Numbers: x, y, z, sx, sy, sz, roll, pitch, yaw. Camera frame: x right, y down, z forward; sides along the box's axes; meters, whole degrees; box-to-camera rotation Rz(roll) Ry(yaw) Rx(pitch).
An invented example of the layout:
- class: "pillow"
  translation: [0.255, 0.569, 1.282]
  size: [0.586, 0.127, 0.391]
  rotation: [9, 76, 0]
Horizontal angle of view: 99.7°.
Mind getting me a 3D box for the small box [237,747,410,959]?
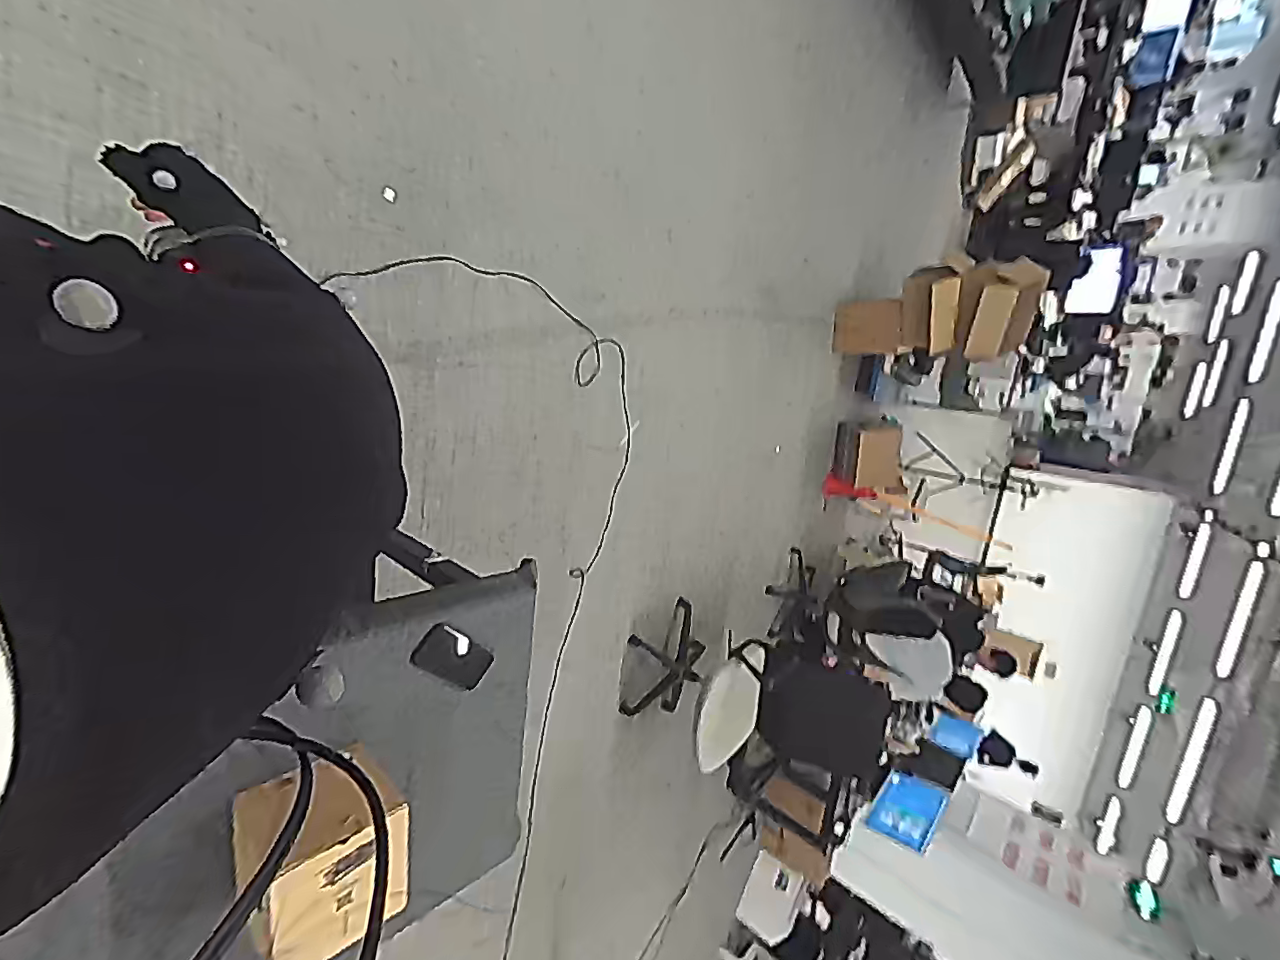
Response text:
- class: "small box"
  translation: [-0.442, 0.509, 0.757]
  size: [0.168, 0.176, 0.179]
  rotation: [-8, 110, -48]
